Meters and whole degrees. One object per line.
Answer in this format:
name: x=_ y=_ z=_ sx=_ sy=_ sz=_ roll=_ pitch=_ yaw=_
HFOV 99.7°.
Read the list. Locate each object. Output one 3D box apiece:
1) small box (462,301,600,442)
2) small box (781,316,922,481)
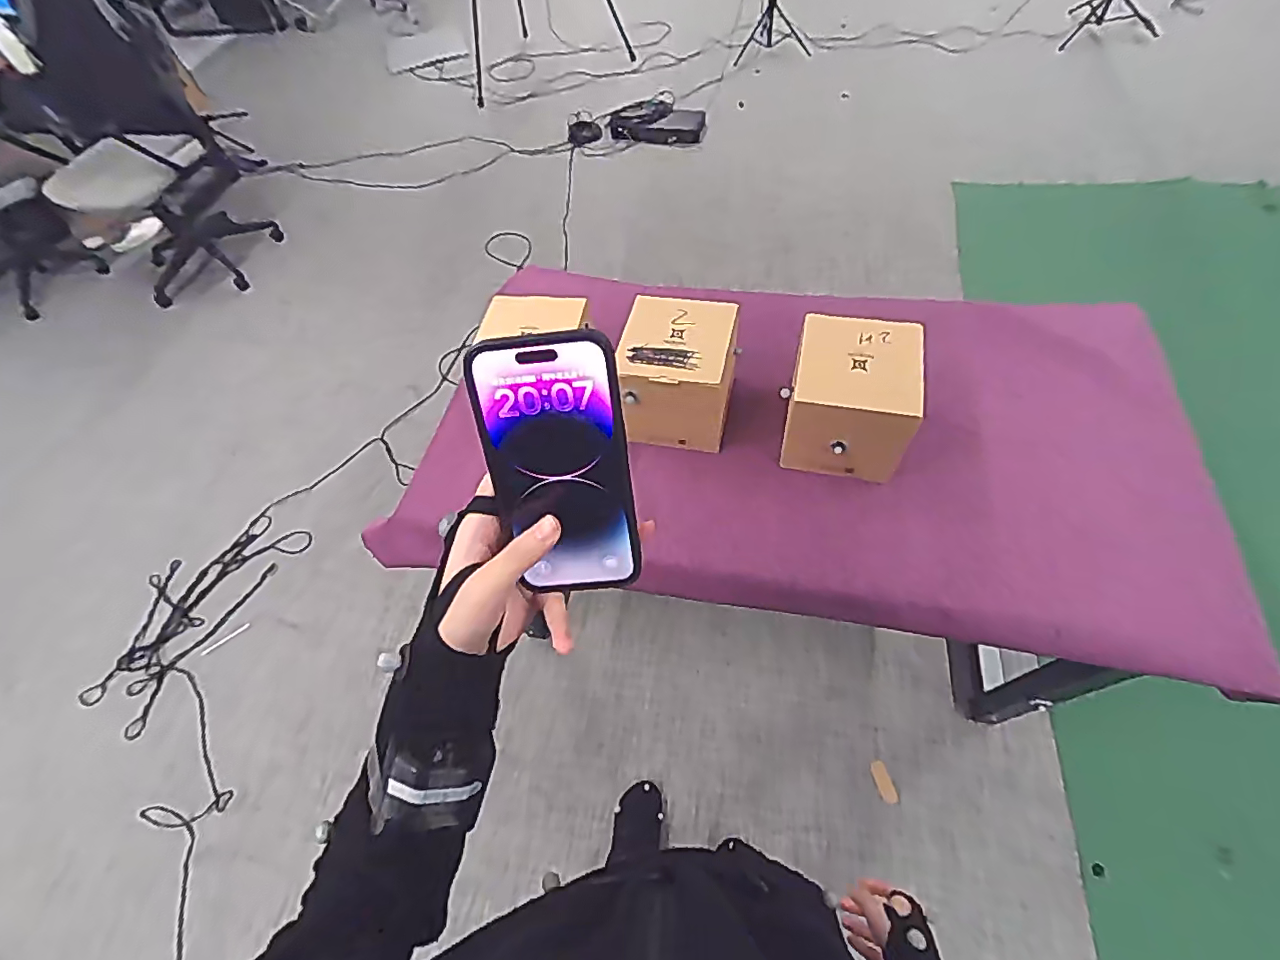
small box: x=-0.172 y=-0.182 z=0.923 sx=0.168 sy=0.176 sz=0.179 roll=4 pitch=57 yaw=10
small box: x=0.313 y=-0.119 z=0.821 sx=0.168 sy=0.176 sz=0.179 roll=10 pitch=59 yaw=12
